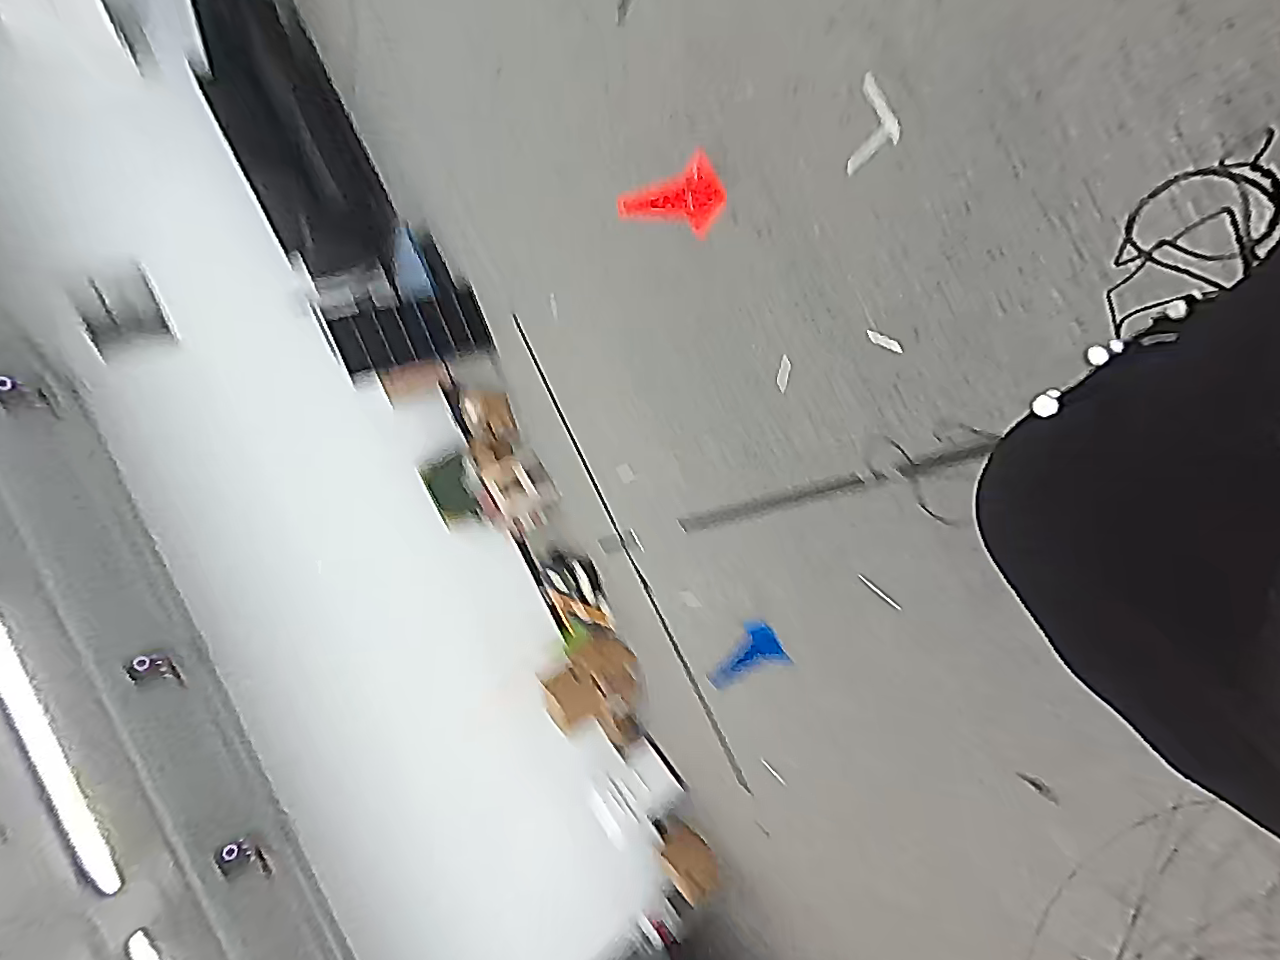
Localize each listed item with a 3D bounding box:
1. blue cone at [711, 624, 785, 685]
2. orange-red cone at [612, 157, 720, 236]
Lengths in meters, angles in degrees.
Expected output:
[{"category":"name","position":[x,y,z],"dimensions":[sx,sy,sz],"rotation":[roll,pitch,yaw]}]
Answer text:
[{"category":"blue cone","position":[0.479,0.849,2.525],"dimensions":[0.192,0.380,0.193],"rotation":[61,150,5]},{"category":"orange-red cone","position":[0.059,-0.929,1.822],"dimensions":[0.198,0.360,0.199],"rotation":[62,151,4]}]
